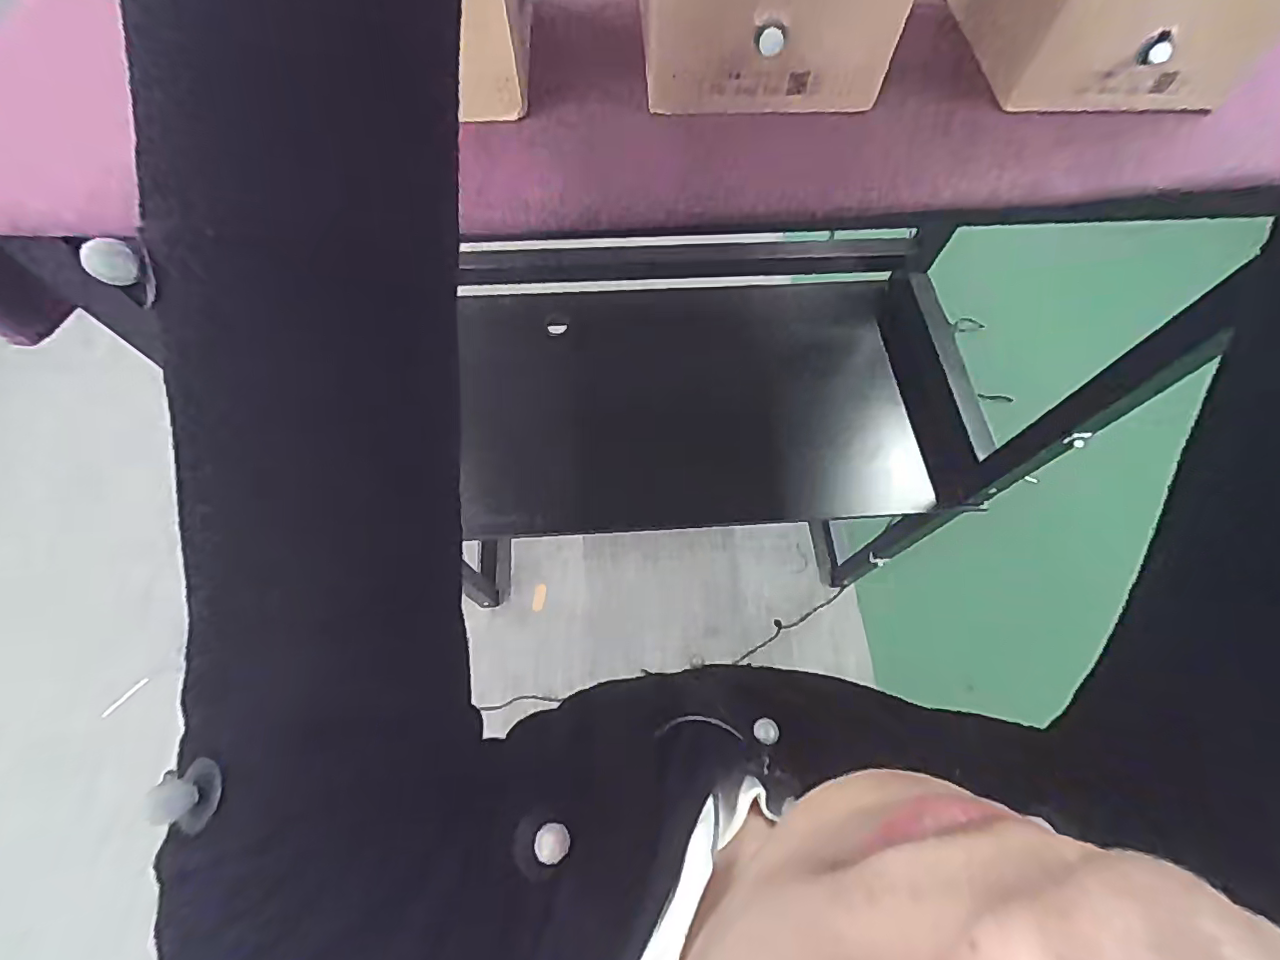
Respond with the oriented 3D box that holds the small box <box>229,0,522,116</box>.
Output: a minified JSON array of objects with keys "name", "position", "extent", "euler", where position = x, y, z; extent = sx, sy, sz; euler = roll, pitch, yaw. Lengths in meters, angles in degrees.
[{"name":"small box","position":[-0.172,-0.367,0.341],"extent":[0.168,0.176,0.179],"euler":[-4,64,-2]}]

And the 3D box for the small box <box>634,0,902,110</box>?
[{"name":"small box","position":[0.080,-0.381,0.354],"extent":[0.168,0.176,0.179],"euler":[-3,65,-2]}]
